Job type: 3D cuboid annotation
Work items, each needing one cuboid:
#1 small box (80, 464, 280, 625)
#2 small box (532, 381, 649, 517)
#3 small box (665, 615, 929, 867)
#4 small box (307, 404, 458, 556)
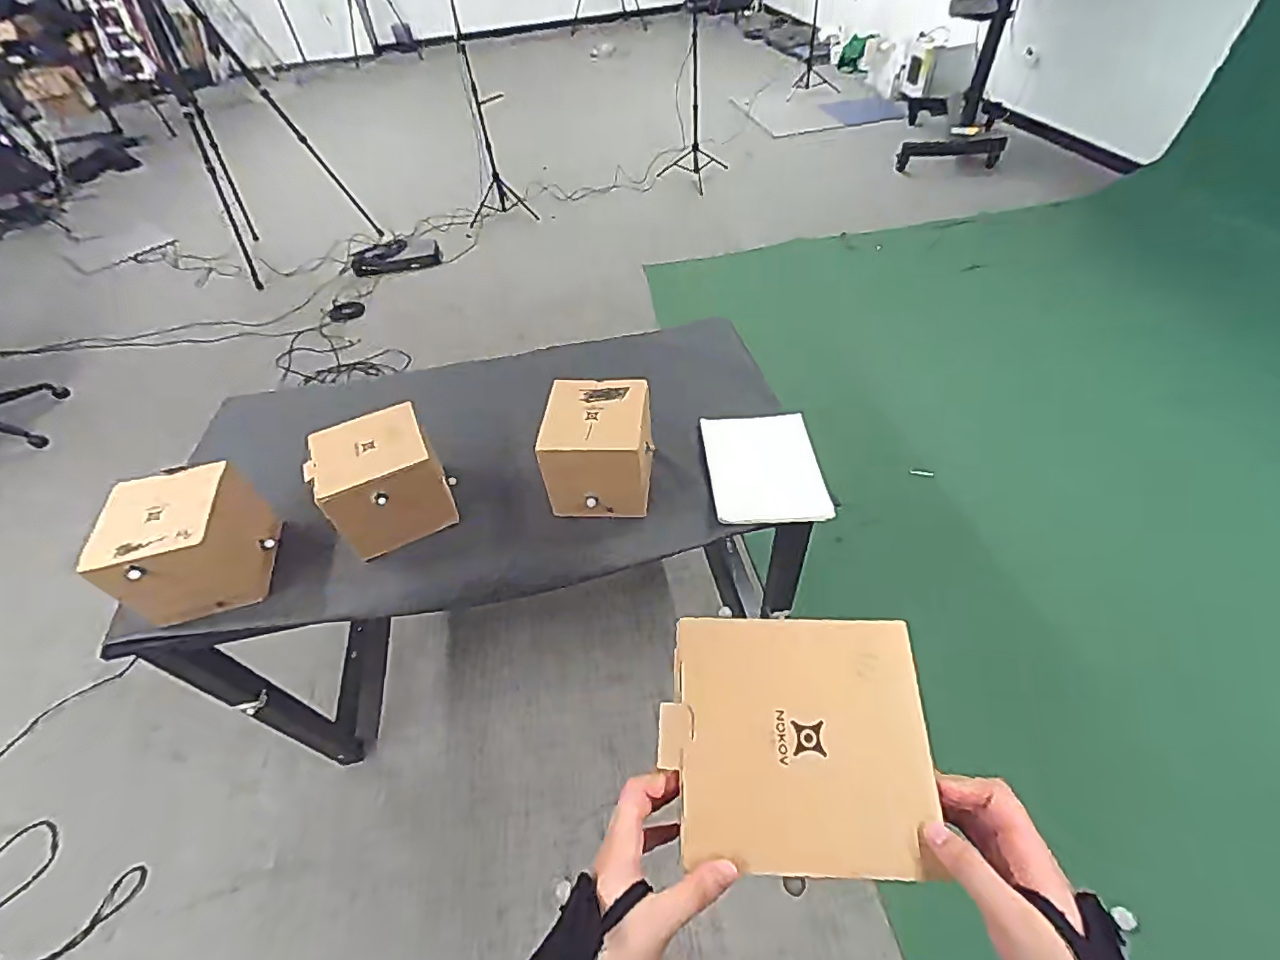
[{"bbox_3d":[-0.721,0.105,0.879,0.168,0.176,0.179,-15,49,-8],"label":"small box"},{"bbox_3d":[-0.075,-0.055,0.950,0.168,0.176,0.179,0,49,7],"label":"small box"},{"bbox_3d":[0.111,0.213,0.465,0.179,0.176,0.168,-2,65,4],"label":"small box"},{"bbox_3d":[-0.443,0.003,0.943,0.179,0.176,0.168,-23,51,-16],"label":"small box"}]
